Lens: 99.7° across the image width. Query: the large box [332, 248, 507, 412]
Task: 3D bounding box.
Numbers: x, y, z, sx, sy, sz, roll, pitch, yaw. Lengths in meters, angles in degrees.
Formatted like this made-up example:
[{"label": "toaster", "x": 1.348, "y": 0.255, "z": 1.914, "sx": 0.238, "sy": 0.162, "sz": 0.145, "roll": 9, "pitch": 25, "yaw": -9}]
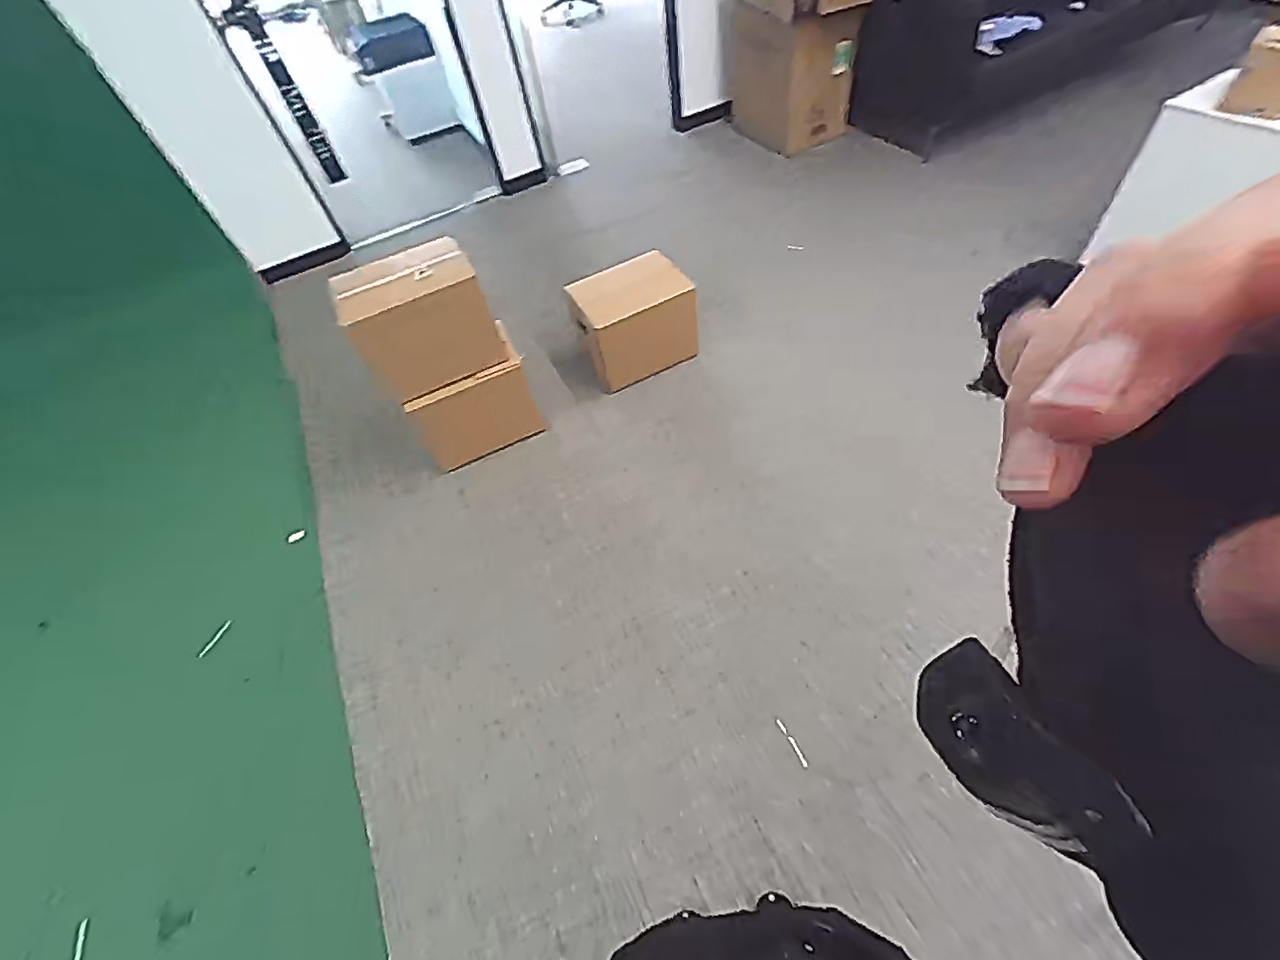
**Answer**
[{"label": "large box", "x": -0.699, "y": -0.485, "z": 1.741, "sx": 0.408, "sy": 0.320, "sz": 0.320, "roll": -26, "pitch": 50, "yaw": -12}]
